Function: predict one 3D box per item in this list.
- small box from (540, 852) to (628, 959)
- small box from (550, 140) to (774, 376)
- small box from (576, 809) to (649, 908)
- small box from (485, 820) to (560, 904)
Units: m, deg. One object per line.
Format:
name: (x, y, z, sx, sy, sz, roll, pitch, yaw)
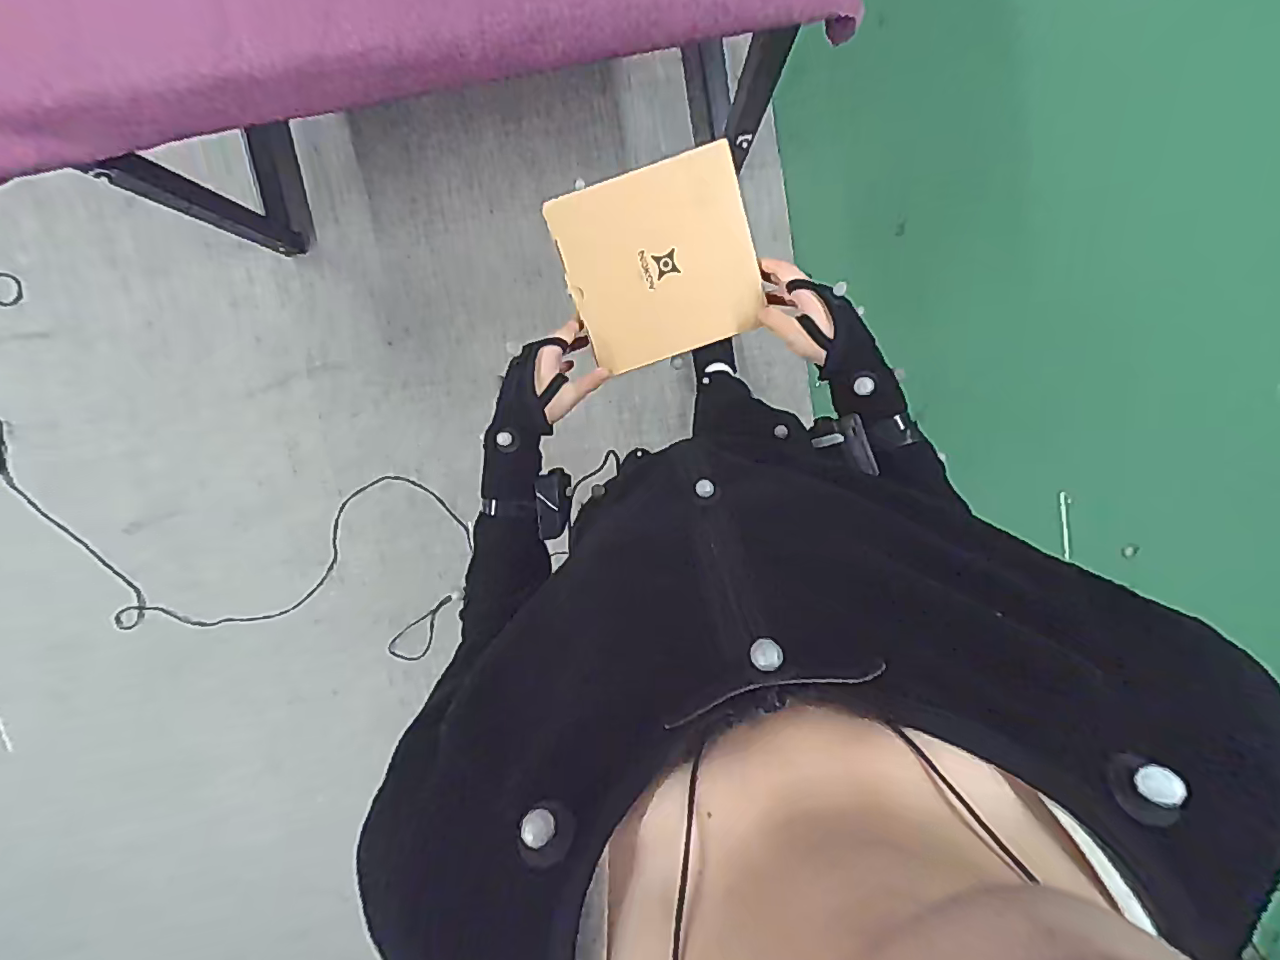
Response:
small box: (-0.135, 1.080, 1.364, 0.168, 0.176, 0.179, -16, 95, 6)
small box: (0.021, -0.226, 0.581, 0.179, 0.176, 0.168, -19, 106, 5)
small box: (-0.075, 1.066, 1.524, 0.179, 0.176, 0.168, -15, 95, 6)
small box: (-0.335, 1.111, 1.539, 0.179, 0.176, 0.168, -18, 96, 3)
